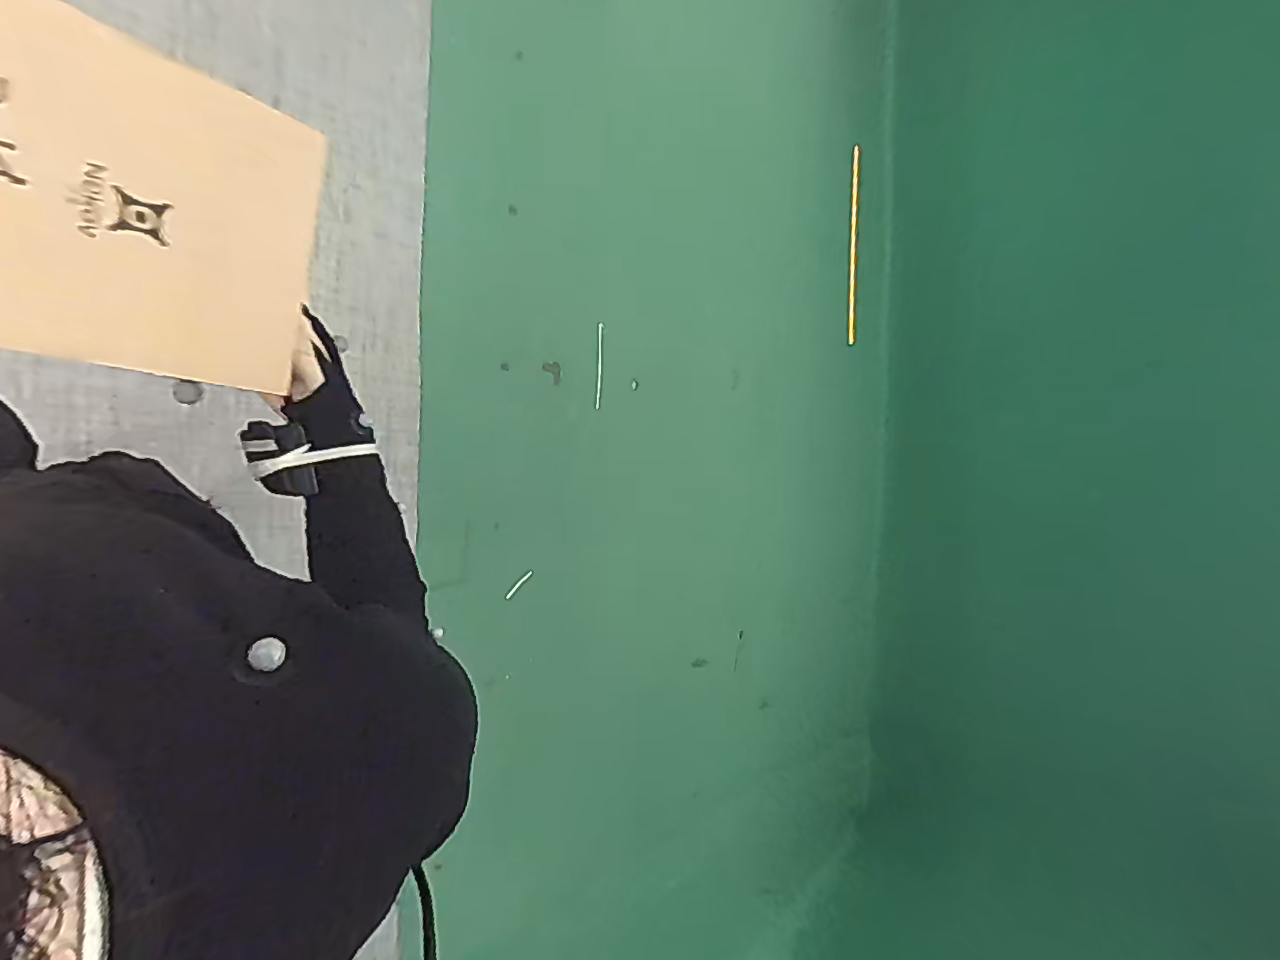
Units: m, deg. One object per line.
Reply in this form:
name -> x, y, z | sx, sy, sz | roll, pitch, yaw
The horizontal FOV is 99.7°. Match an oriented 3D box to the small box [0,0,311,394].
small box -> -0.339, -0.159, 0.336 | 0.179, 0.176, 0.168 | 7, 98, -48
